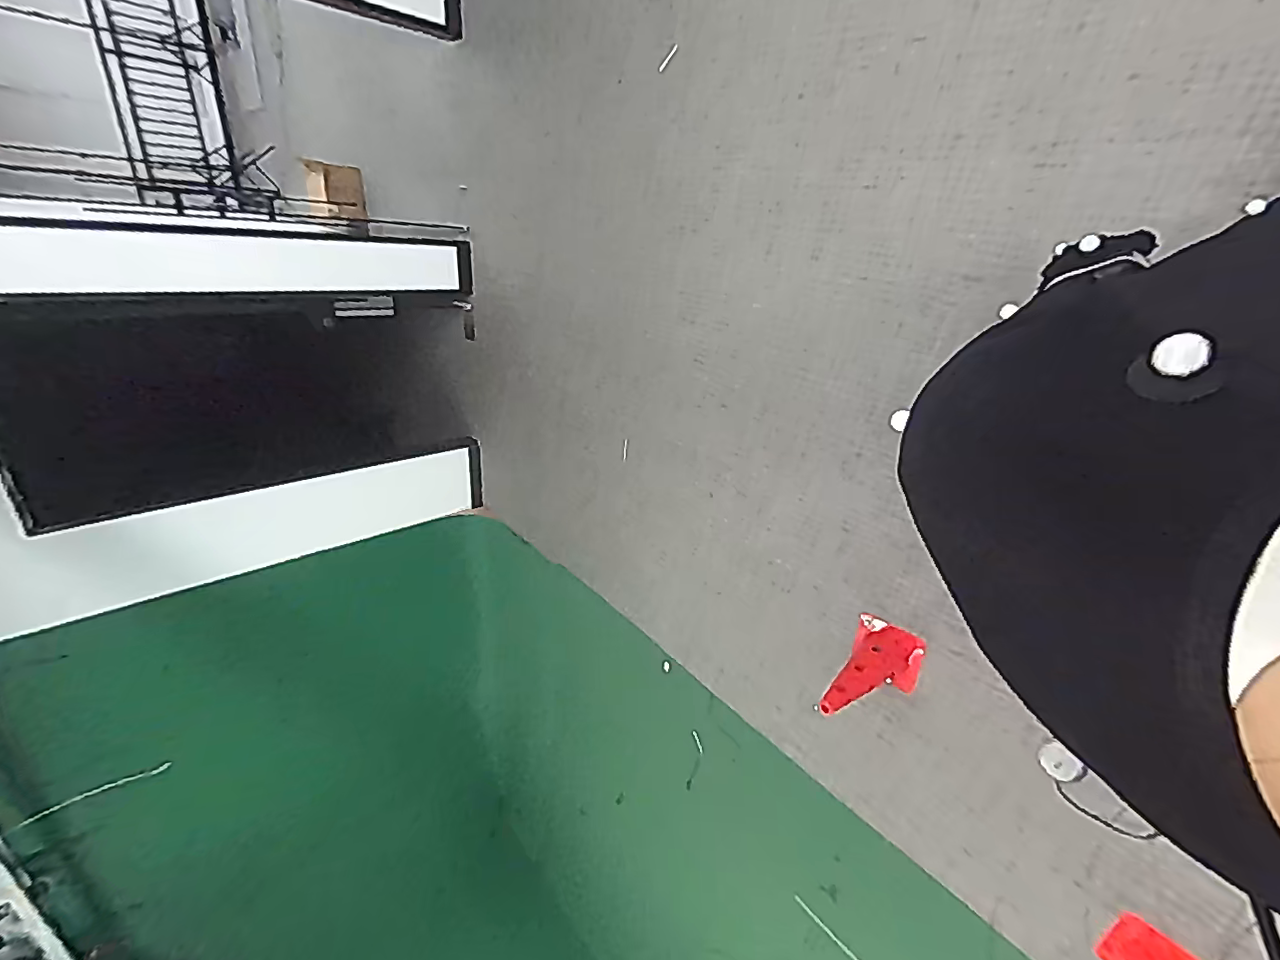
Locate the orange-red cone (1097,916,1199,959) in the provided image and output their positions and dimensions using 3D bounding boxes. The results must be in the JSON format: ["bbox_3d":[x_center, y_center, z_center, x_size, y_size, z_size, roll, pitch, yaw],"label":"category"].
[{"bbox_3d":[1.136,1.221,1.200,0.198,0.360,0.199,29,123,39],"label":"orange-red cone"}]

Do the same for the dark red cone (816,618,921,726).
[{"bbox_3d":[0.620,0.577,1.542,0.202,0.394,0.201,23,122,43],"label":"dark red cone"}]
